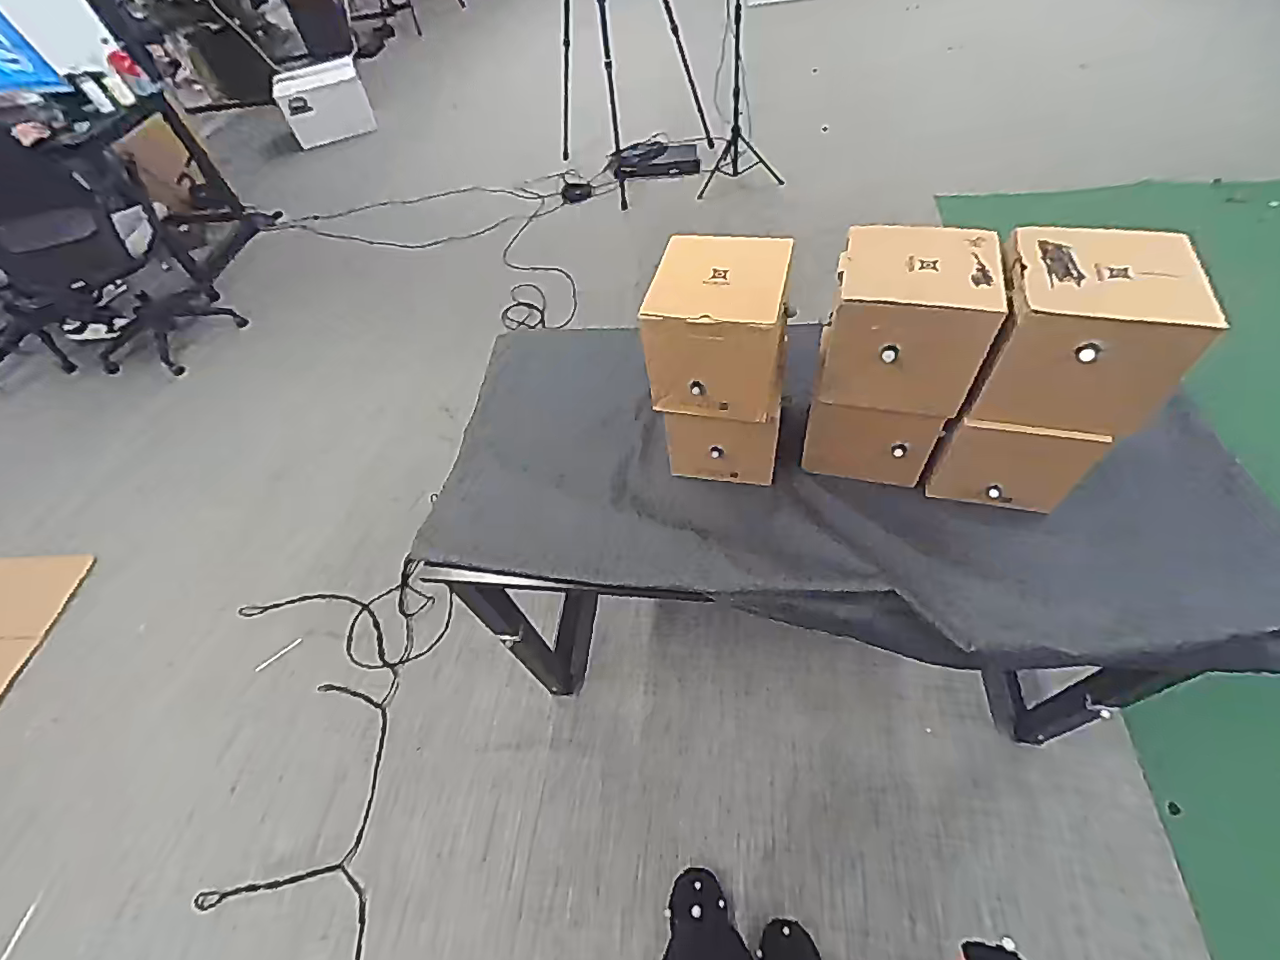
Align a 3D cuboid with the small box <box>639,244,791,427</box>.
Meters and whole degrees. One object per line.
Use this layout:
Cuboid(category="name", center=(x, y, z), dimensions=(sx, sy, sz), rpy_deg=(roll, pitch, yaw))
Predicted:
Cuboid(category="small box", center=(0.108, -0.199, 0.747), dimensions=(0.168, 0.176, 0.179), rpy_deg=(8, 57, 16))
